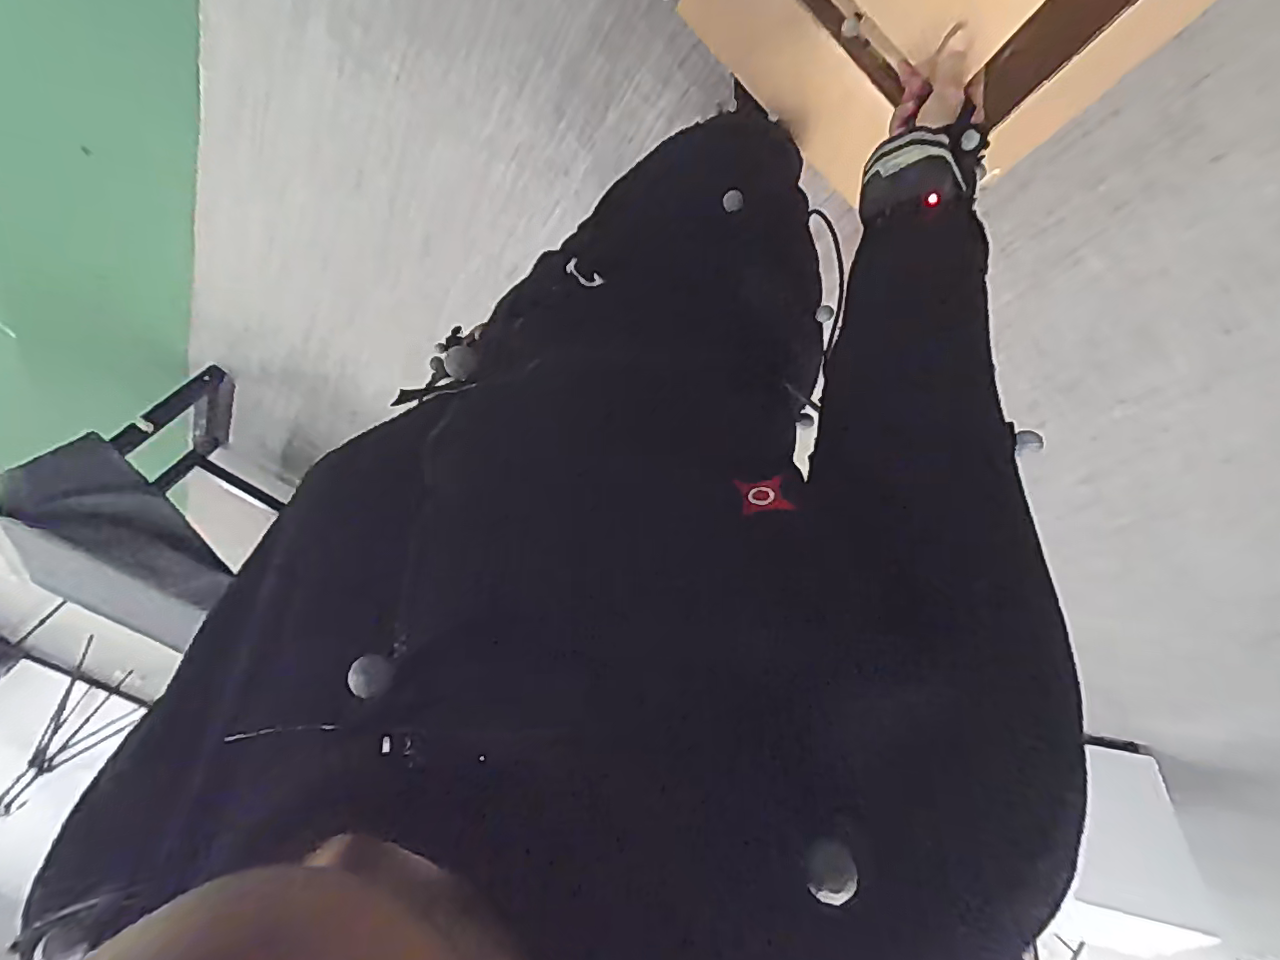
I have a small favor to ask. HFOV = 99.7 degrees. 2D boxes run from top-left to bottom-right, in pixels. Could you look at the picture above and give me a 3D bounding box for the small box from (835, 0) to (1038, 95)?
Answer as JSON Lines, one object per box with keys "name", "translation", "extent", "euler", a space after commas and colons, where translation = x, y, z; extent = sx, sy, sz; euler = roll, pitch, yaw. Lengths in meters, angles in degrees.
{"name": "small box", "translation": [0.266, -0.461, 0.449], "extent": [0.168, 0.176, 0.179], "euler": [38, 127, -10]}
